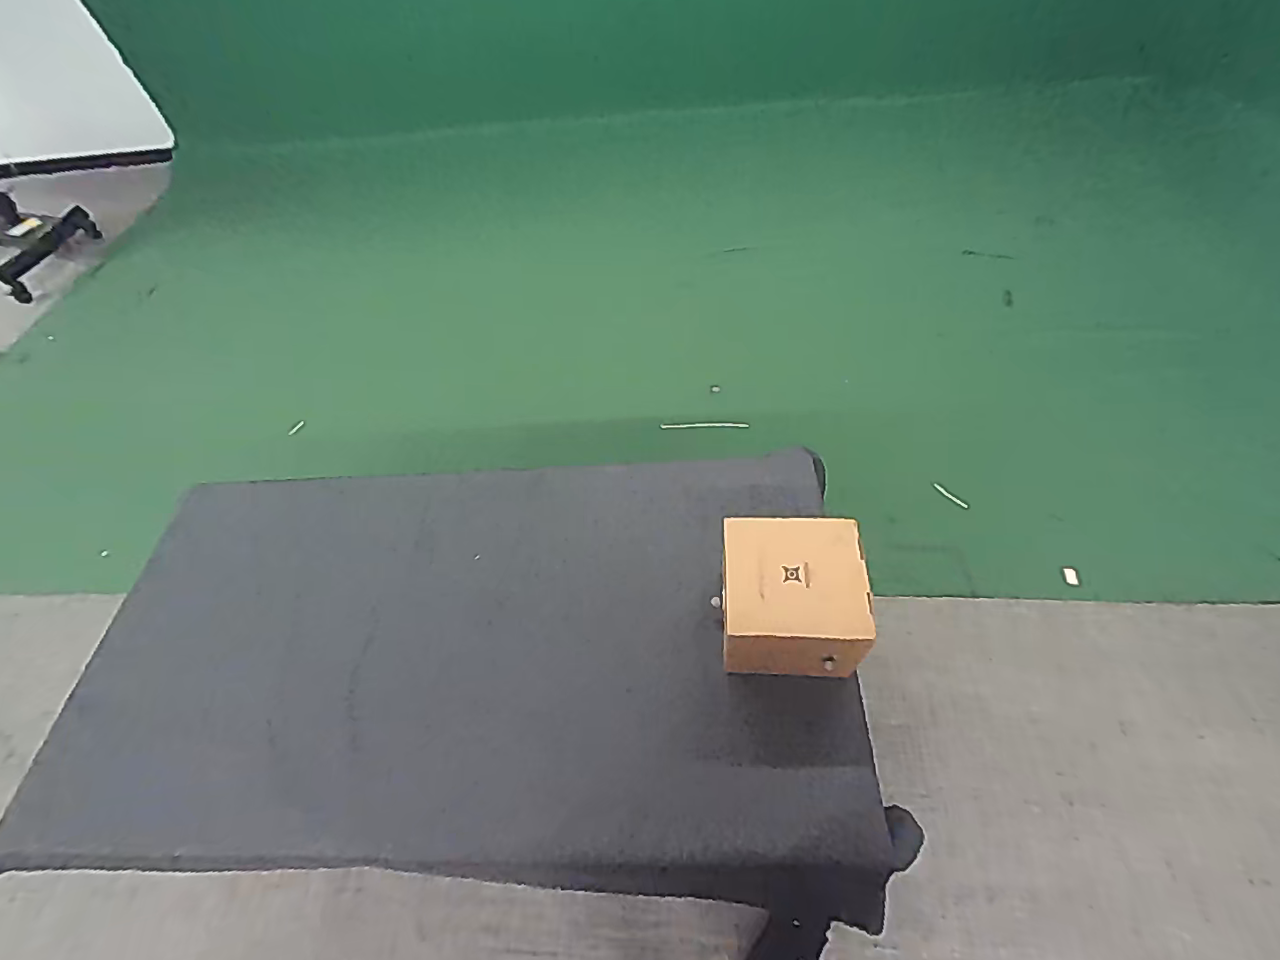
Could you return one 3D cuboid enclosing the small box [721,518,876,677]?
[{"bbox_3d":[0.202,0.165,0.743,0.179,0.176,0.168,-1,55,8],"label":"small box"}]
